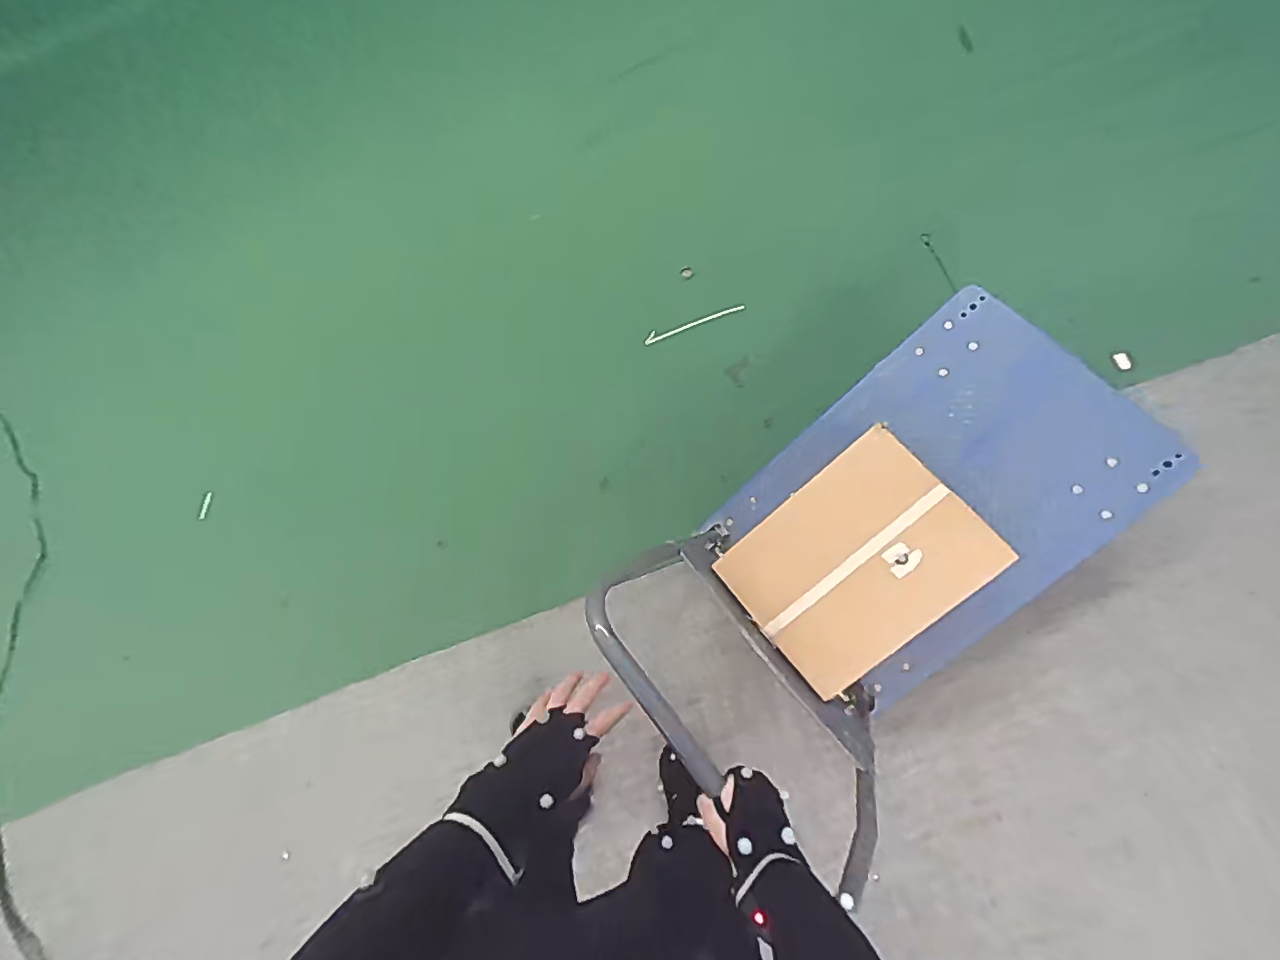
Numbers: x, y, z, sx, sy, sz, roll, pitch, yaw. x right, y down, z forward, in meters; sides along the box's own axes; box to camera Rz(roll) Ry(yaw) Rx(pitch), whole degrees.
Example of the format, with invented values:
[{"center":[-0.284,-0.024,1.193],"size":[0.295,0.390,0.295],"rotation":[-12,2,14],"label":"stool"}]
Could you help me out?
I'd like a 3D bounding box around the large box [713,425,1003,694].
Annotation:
[{"center":[0.418,0.157,1.112],"size":[0.408,0.320,0.320],"rotation":[-42,75,11],"label":"large box"}]
